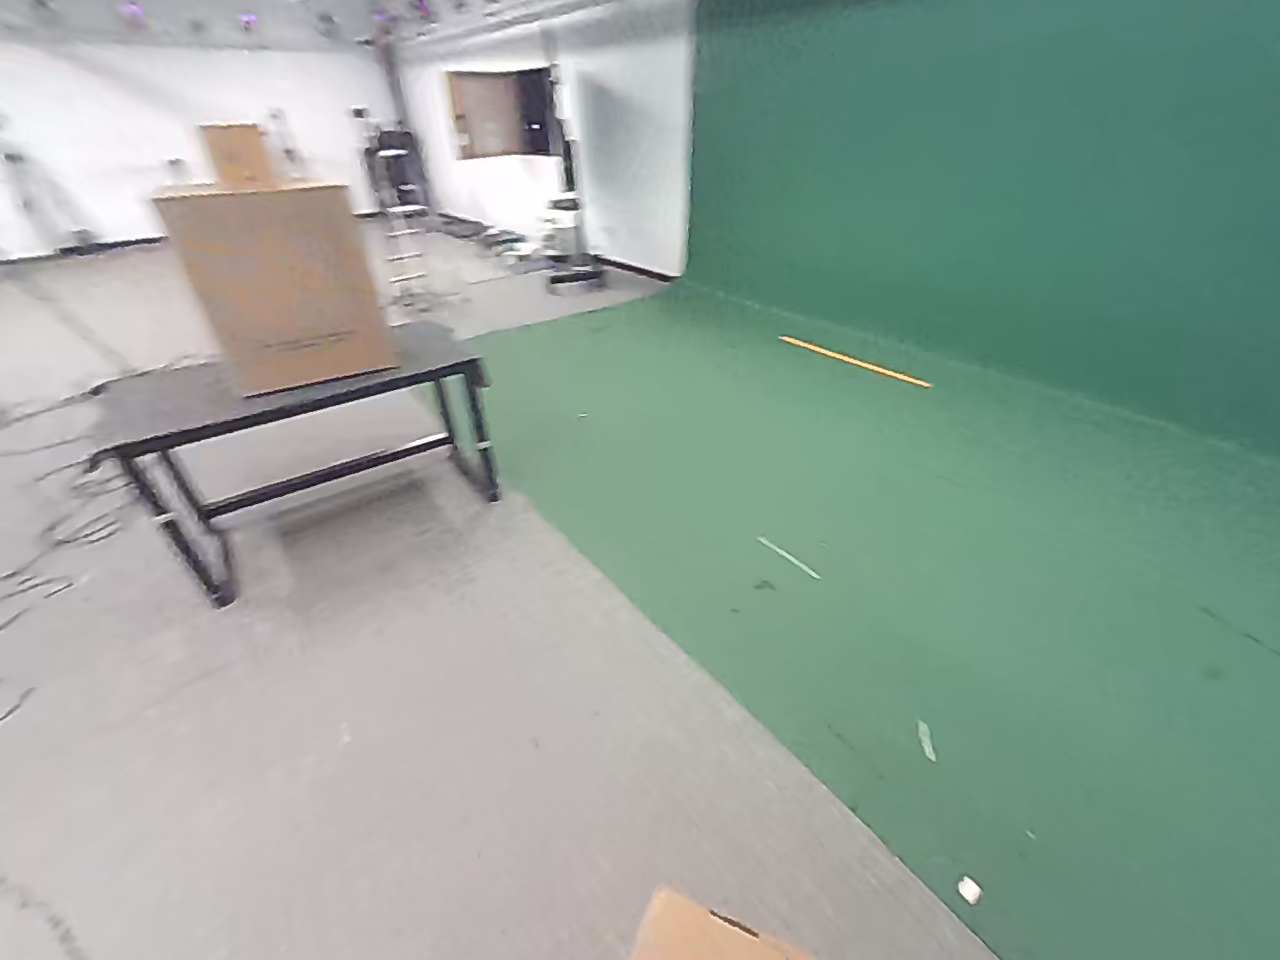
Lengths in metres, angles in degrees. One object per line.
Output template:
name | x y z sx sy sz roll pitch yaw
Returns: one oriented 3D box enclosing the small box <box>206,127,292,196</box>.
small box | -1.200 -0.986 1.674 0.168 0.176 0.179 -17 39 -22
